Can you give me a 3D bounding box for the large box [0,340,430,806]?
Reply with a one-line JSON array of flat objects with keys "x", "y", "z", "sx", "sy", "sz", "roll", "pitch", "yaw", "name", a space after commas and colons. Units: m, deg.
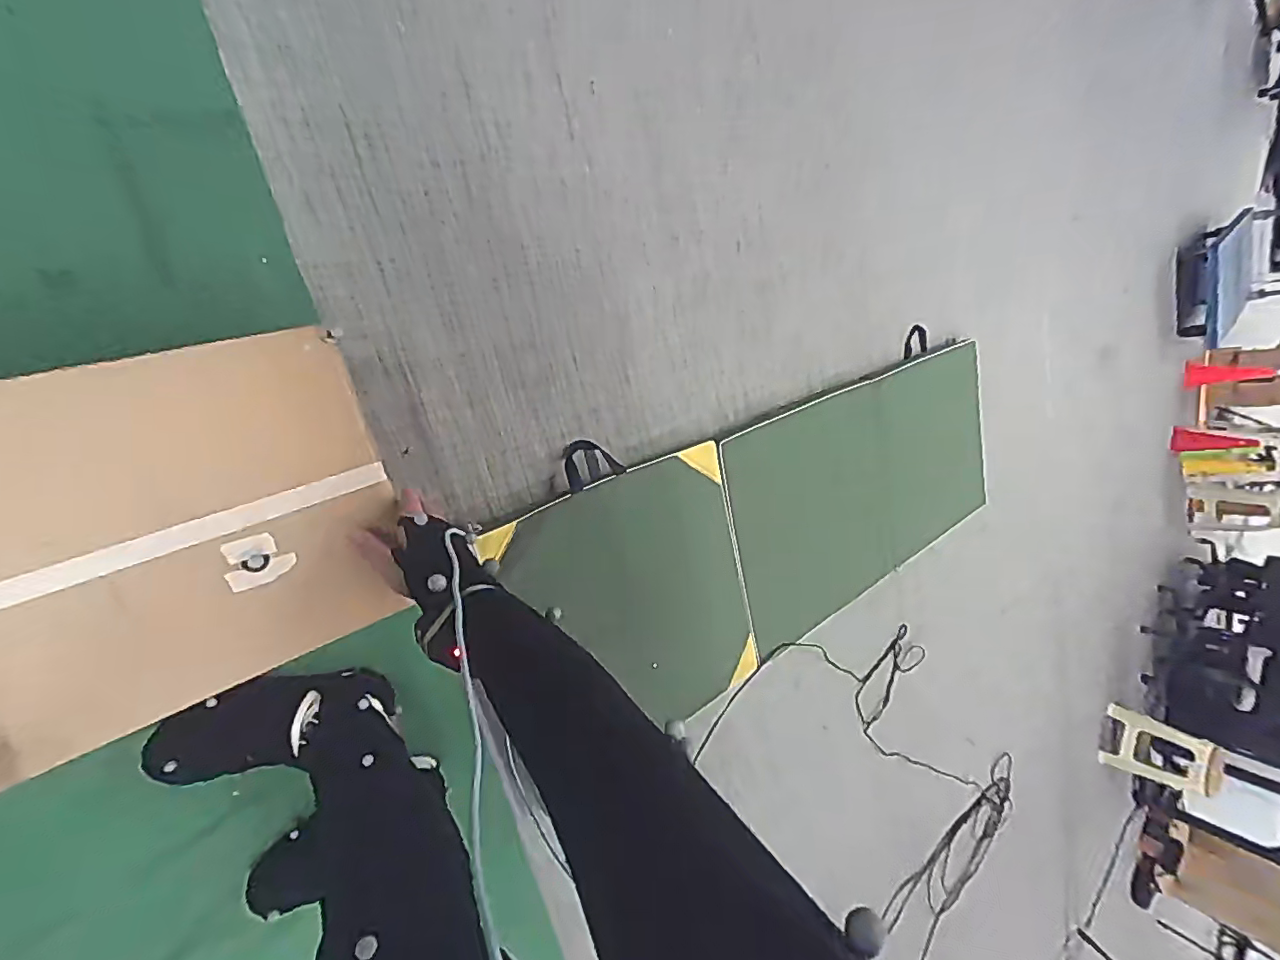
[{"x": -0.520, "y": 0.056, "z": 0.613, "sx": 0.408, "sy": 0.320, "sz": 0.320, "roll": -23, "pitch": 108, "yaw": -31, "name": "large box"}]
